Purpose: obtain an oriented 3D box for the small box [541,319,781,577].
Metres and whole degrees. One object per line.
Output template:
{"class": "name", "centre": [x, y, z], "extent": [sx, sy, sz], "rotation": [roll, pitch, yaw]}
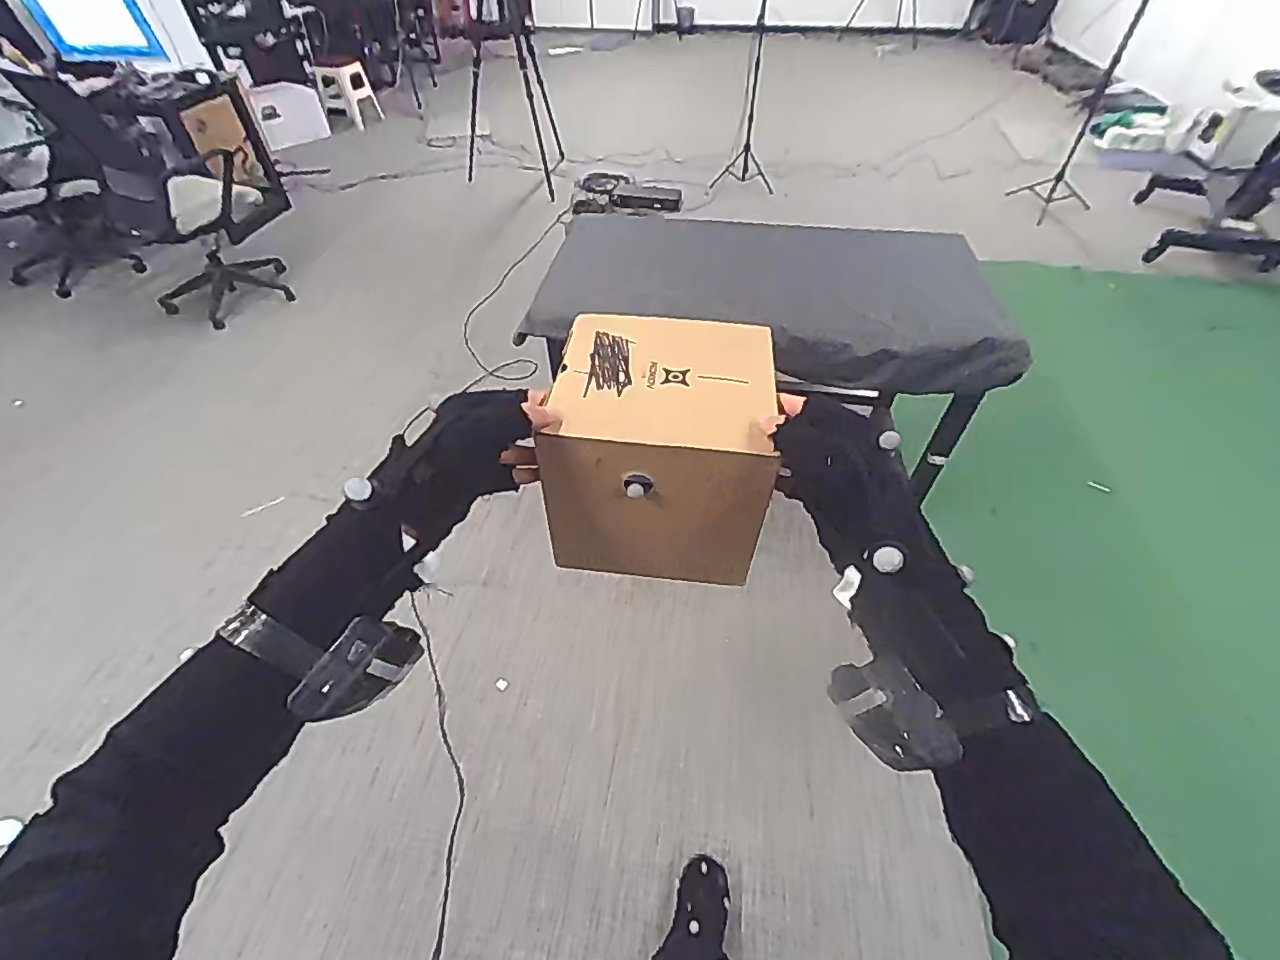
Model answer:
{"class": "small box", "centre": [0.022, -0.027, 0.495], "extent": [0.179, 0.176, 0.168], "rotation": [5, 47, 4]}
